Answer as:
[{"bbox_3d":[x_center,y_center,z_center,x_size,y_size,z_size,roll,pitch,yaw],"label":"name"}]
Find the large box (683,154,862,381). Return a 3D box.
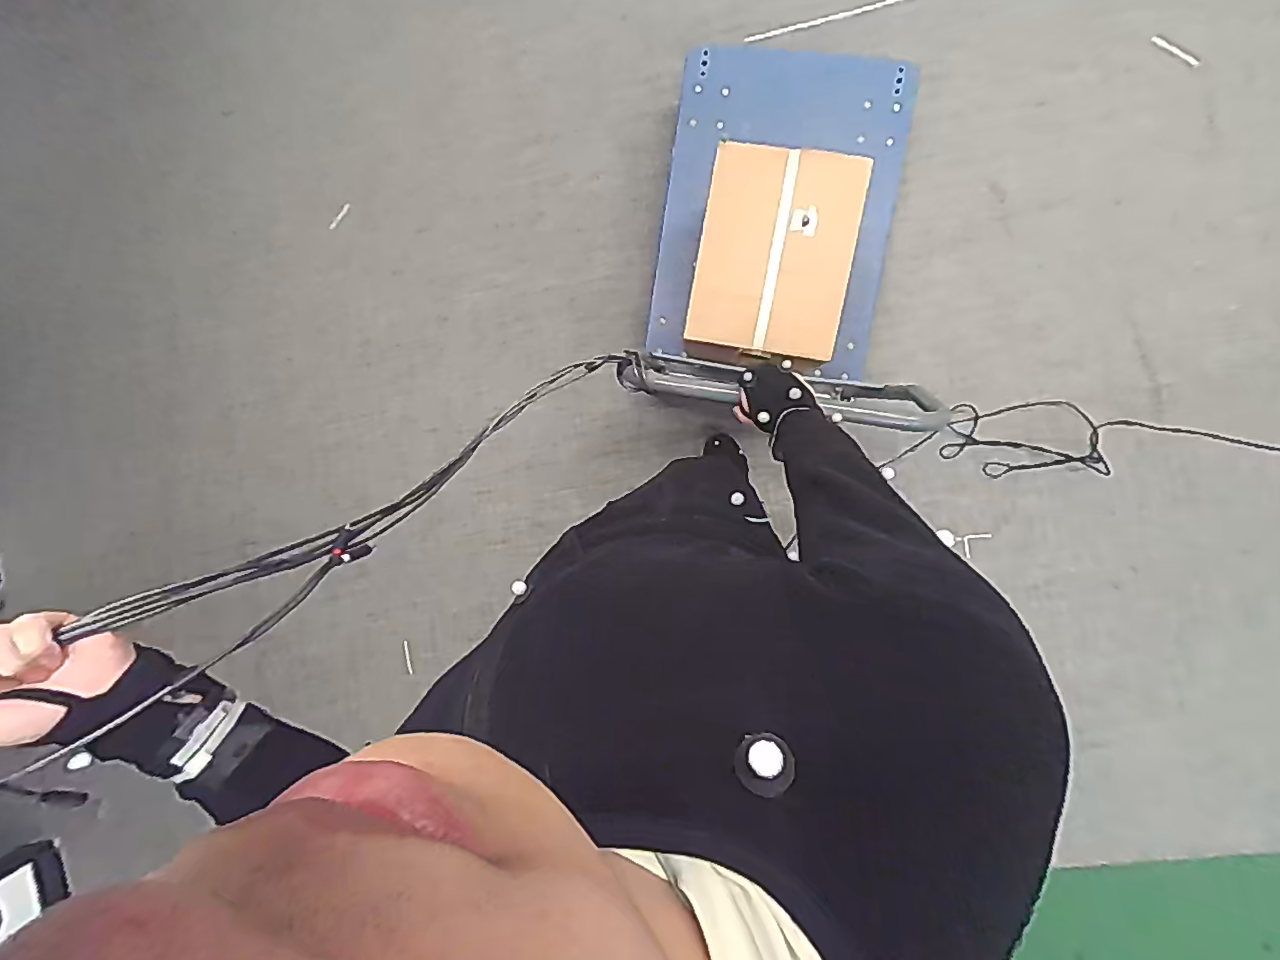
[{"bbox_3d":[0.288,-0.467,1.274,0.320,0.320,0.408,11,95,5],"label":"large box"}]
